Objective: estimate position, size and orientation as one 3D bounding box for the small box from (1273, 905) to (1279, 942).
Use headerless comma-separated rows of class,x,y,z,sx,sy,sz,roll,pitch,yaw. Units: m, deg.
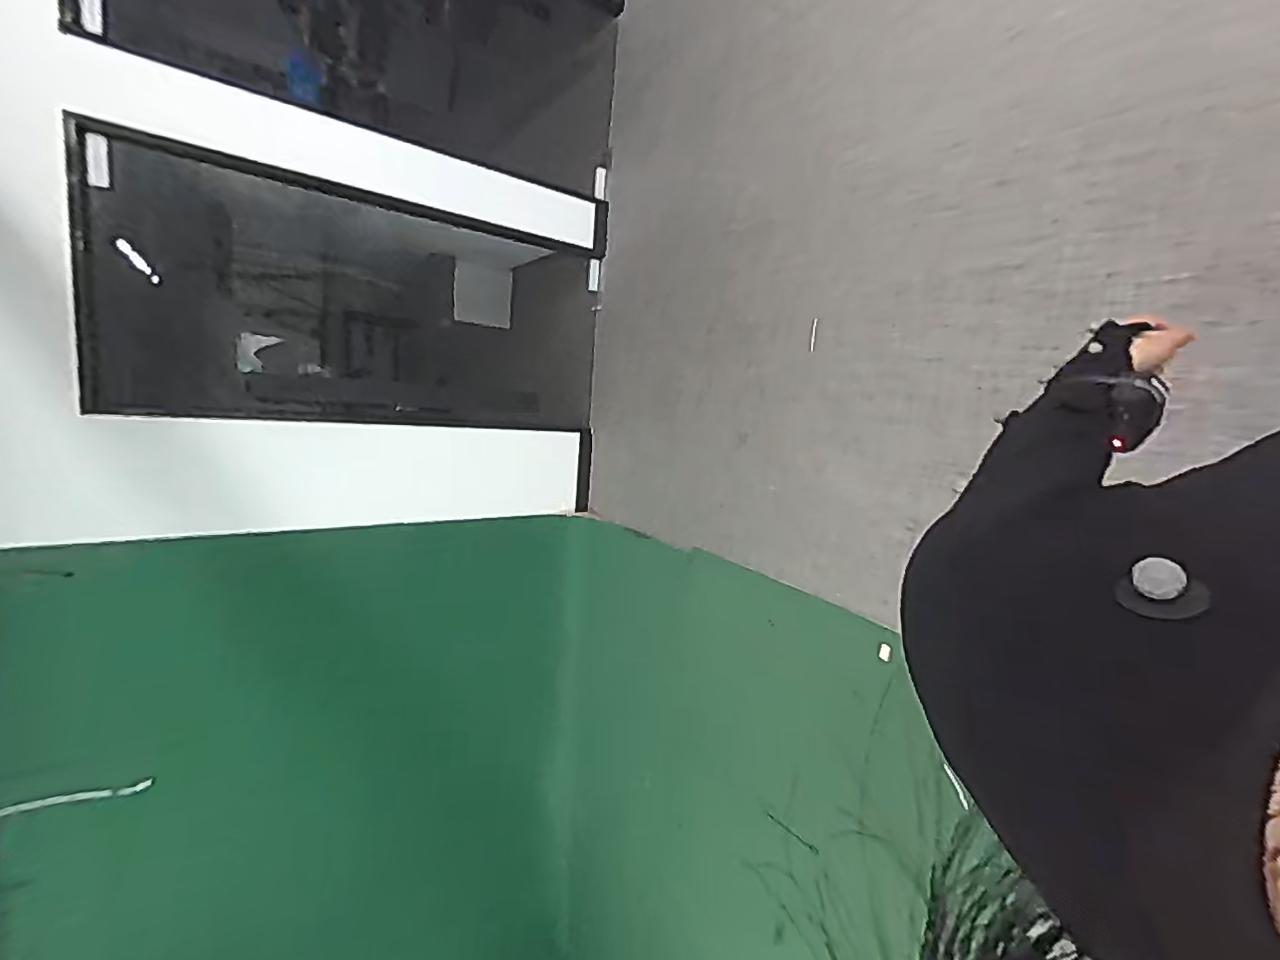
small box,1.010,0.580,0.723,0.179,0.176,0.168,19,103,54
